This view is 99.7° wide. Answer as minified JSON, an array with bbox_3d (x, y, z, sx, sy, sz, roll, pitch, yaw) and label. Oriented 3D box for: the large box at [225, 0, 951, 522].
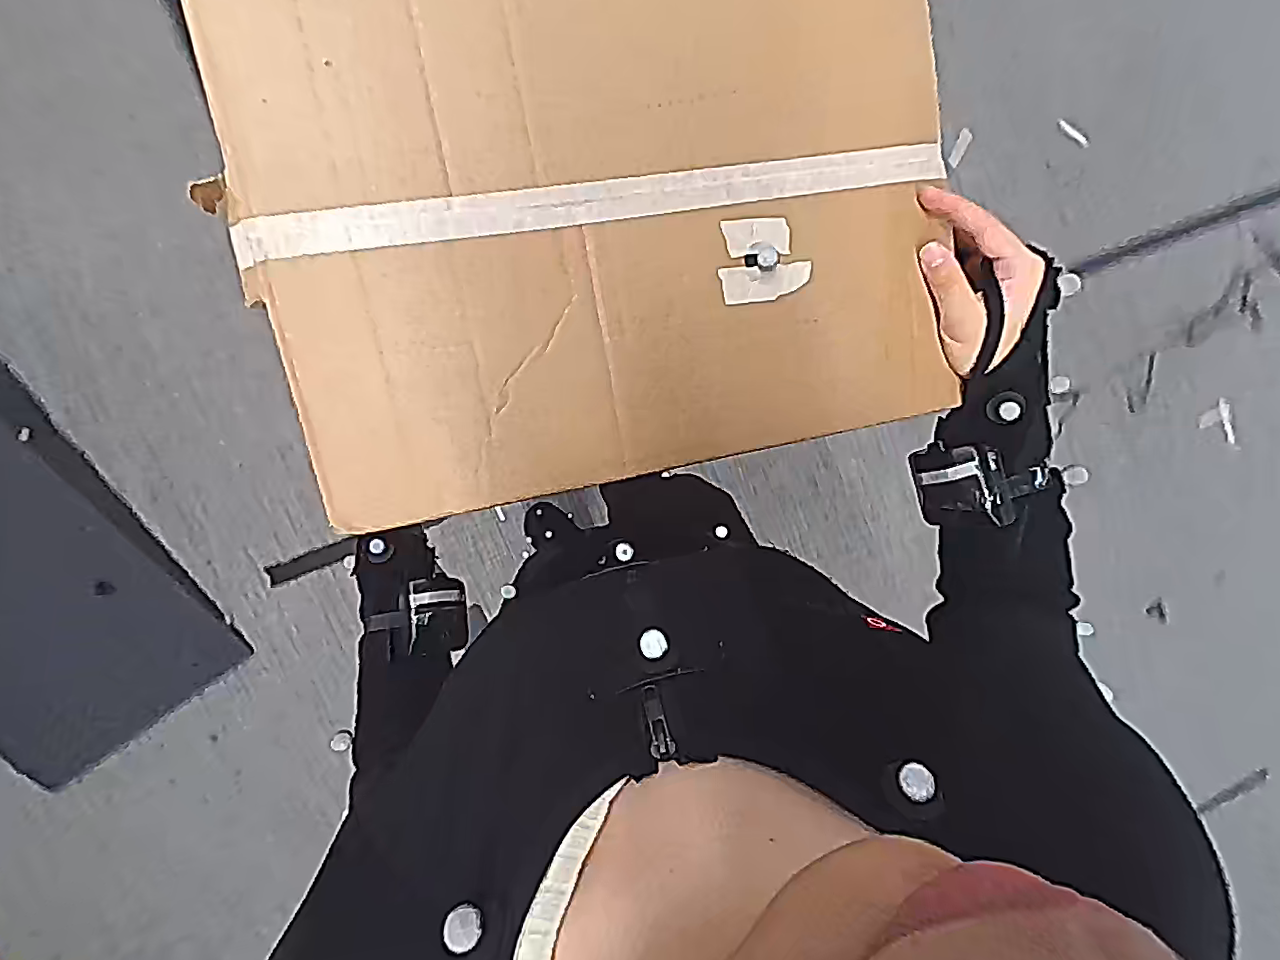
[{"bbox_3d":[-0.029,-0.178,0.466,0.408,0.320,0.320,-12,99,-12],"label":"large box"}]
